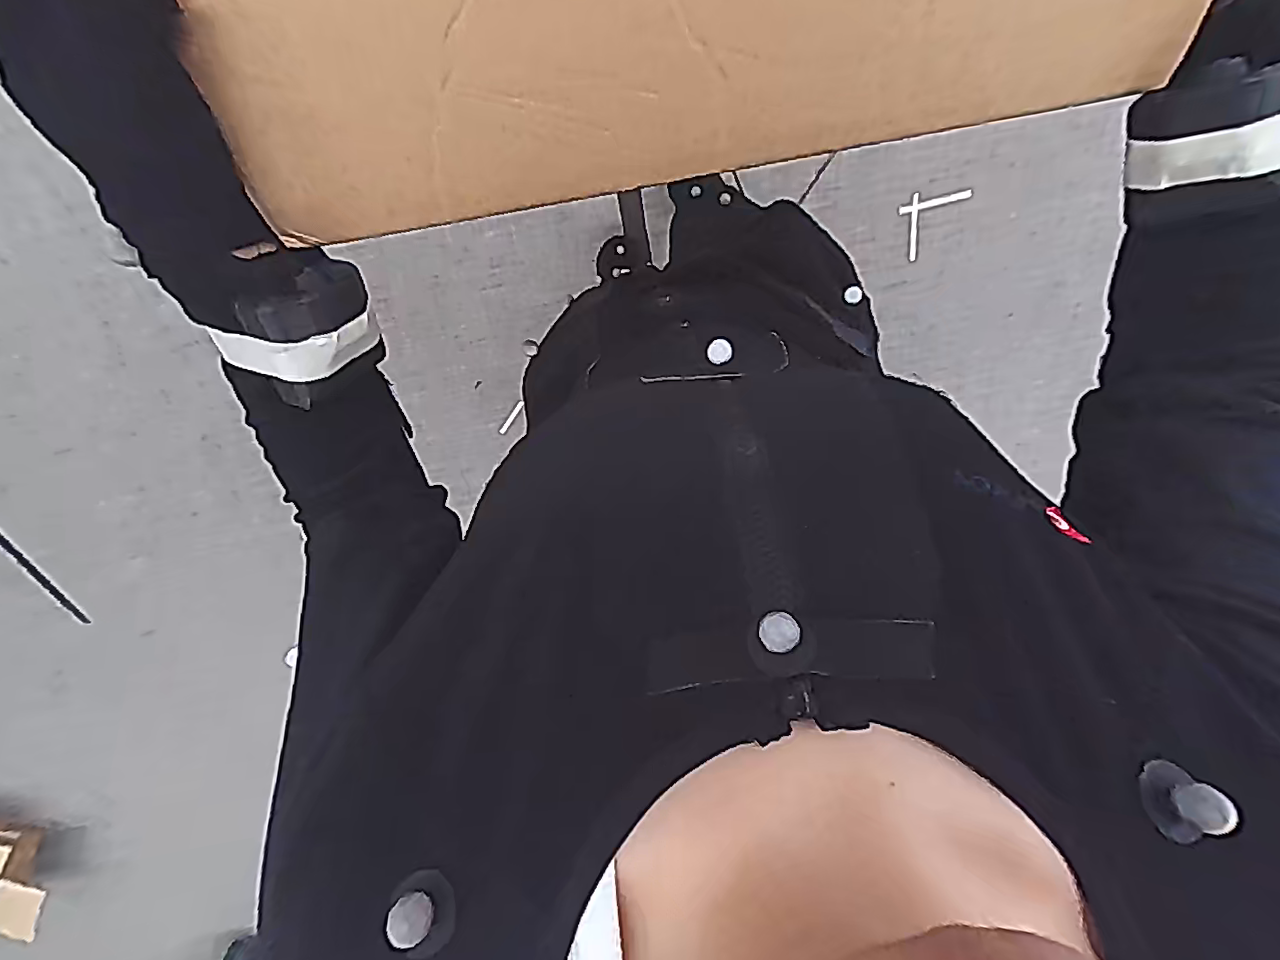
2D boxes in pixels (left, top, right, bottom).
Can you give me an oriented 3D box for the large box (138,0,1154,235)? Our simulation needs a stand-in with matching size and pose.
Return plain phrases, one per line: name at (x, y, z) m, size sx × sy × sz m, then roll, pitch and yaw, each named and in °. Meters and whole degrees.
large box at (-0.008, -0.361, 0.235) m, size 0.408 × 0.320 × 0.320 m, roll -9°, pitch 139°, yaw 2°
